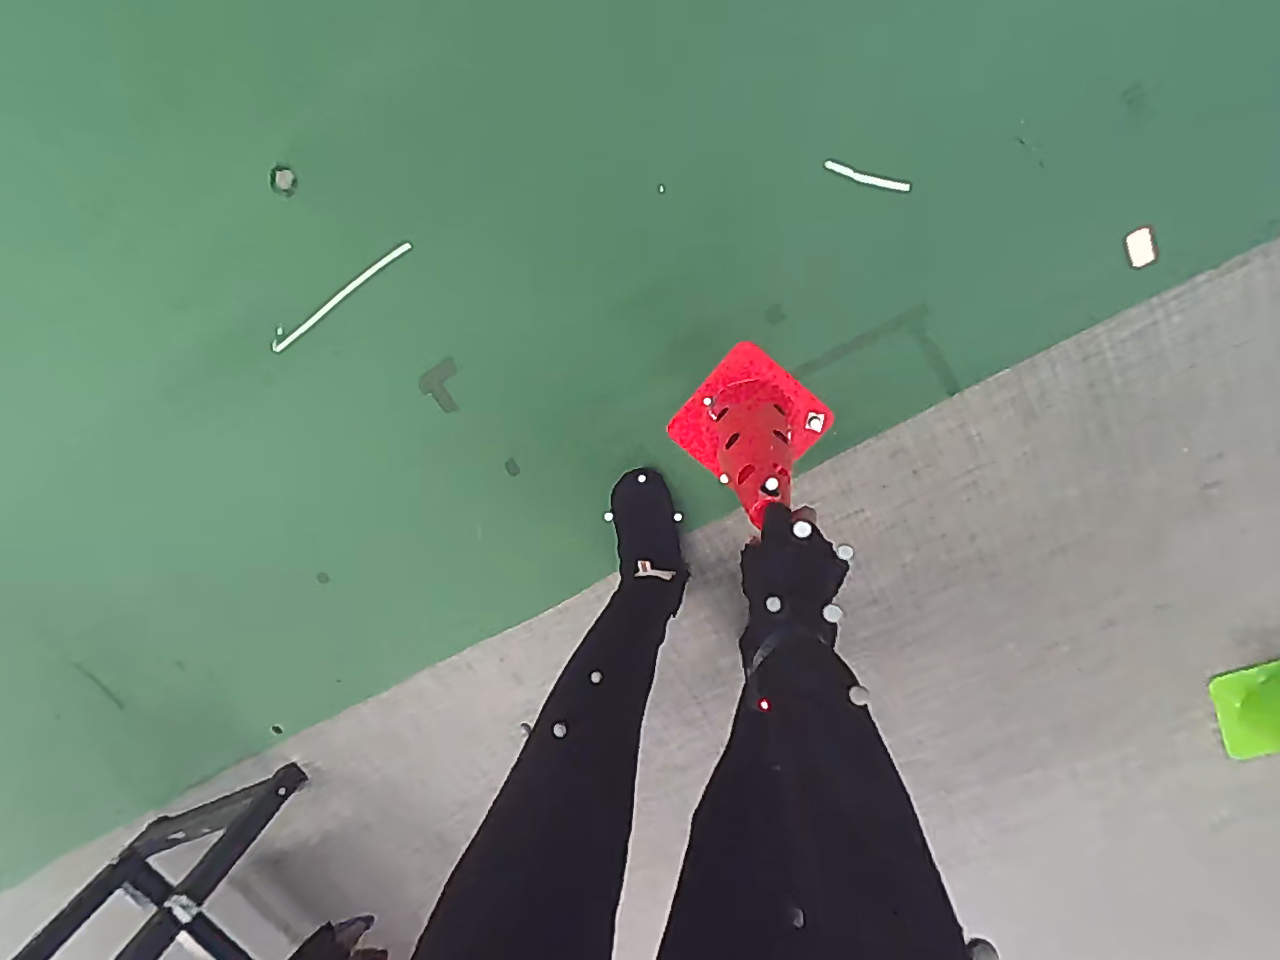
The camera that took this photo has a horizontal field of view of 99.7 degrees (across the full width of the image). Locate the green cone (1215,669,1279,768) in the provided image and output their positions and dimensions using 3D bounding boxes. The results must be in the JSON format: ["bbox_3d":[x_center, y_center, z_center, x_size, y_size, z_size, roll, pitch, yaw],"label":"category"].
[{"bbox_3d":[1.088,0.454,0.762,0.200,0.368,0.202,-27,104,16],"label":"green cone"}]
